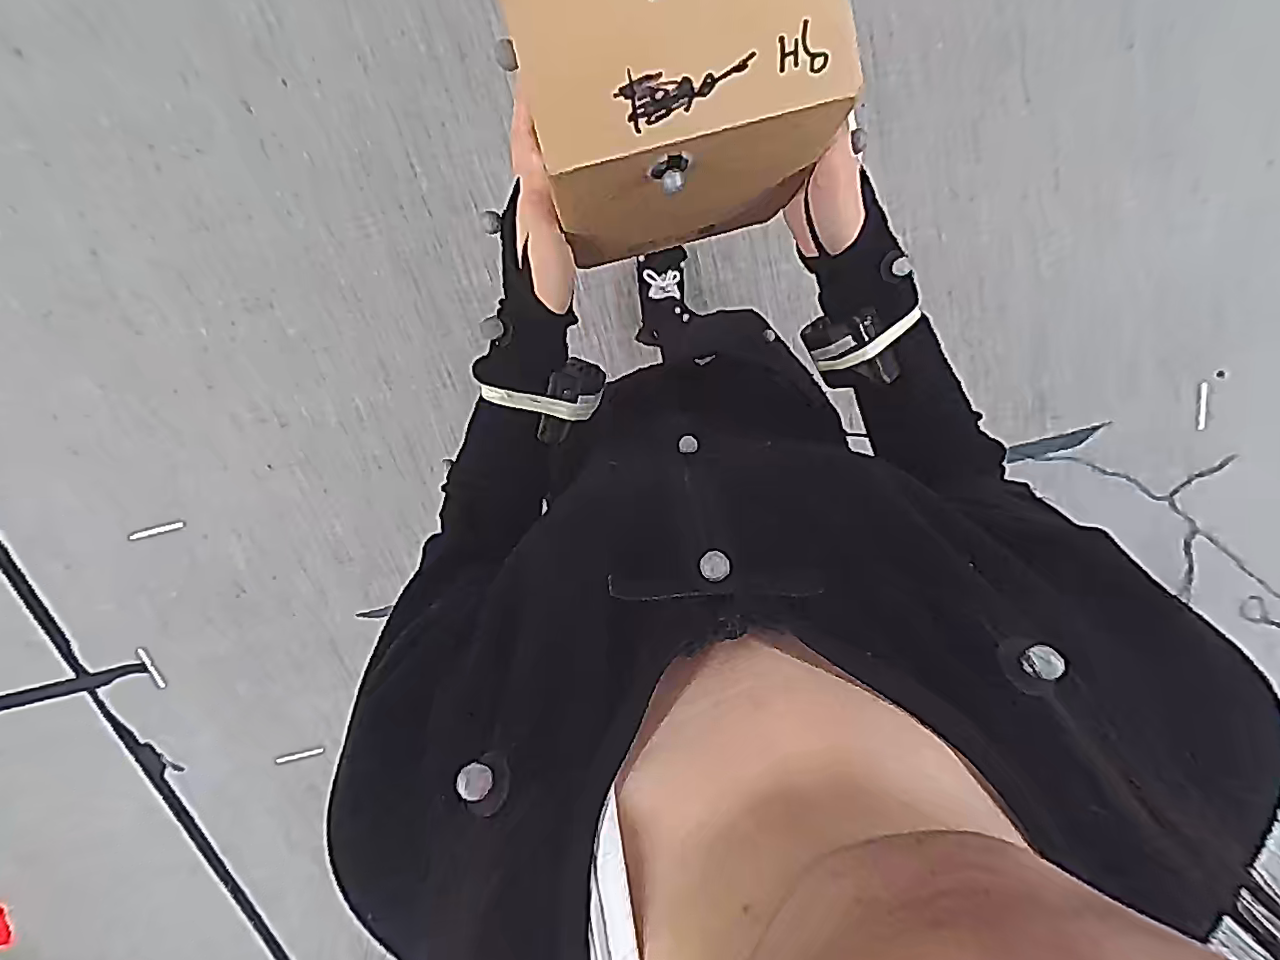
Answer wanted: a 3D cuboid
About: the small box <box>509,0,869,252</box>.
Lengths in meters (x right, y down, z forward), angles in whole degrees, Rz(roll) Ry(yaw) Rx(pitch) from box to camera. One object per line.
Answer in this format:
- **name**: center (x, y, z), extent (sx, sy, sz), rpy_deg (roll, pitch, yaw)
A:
- **small box**: center (0.011, -0.270, 0.334), extent (0.168, 0.176, 0.179), rpy_deg (-15, 96, 0)
